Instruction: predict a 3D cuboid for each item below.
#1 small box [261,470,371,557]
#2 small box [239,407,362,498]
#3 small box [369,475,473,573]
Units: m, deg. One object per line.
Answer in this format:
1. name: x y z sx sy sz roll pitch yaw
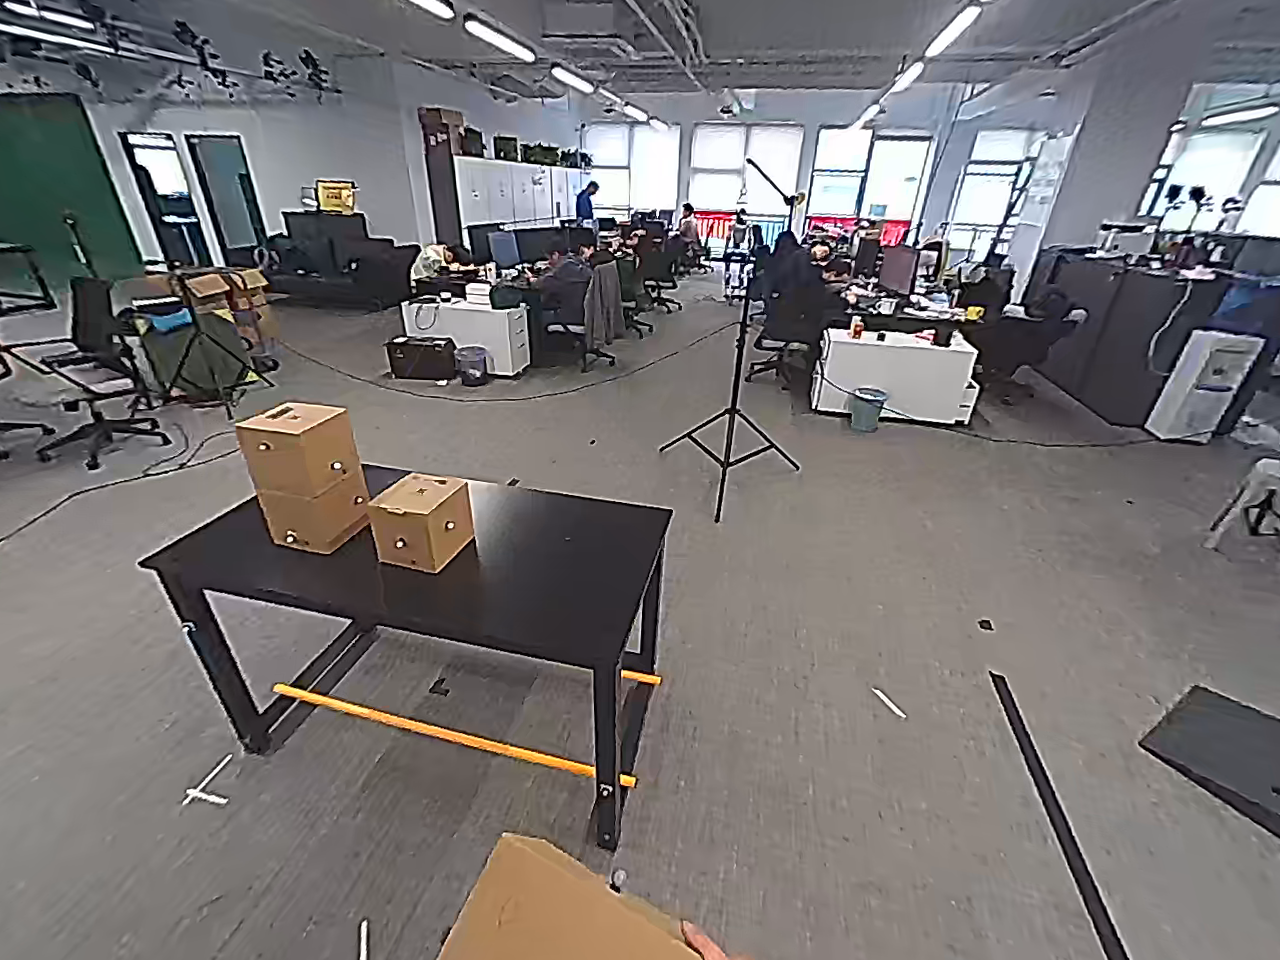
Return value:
1. small box: -0.829 0.075 1.410 0.168 0.176 0.179 7 29 12
2. small box: -0.826 -0.070 1.331 0.179 0.176 0.168 7 29 10
3. small box: -0.537 0.110 1.358 0.168 0.176 0.179 9 29 13
